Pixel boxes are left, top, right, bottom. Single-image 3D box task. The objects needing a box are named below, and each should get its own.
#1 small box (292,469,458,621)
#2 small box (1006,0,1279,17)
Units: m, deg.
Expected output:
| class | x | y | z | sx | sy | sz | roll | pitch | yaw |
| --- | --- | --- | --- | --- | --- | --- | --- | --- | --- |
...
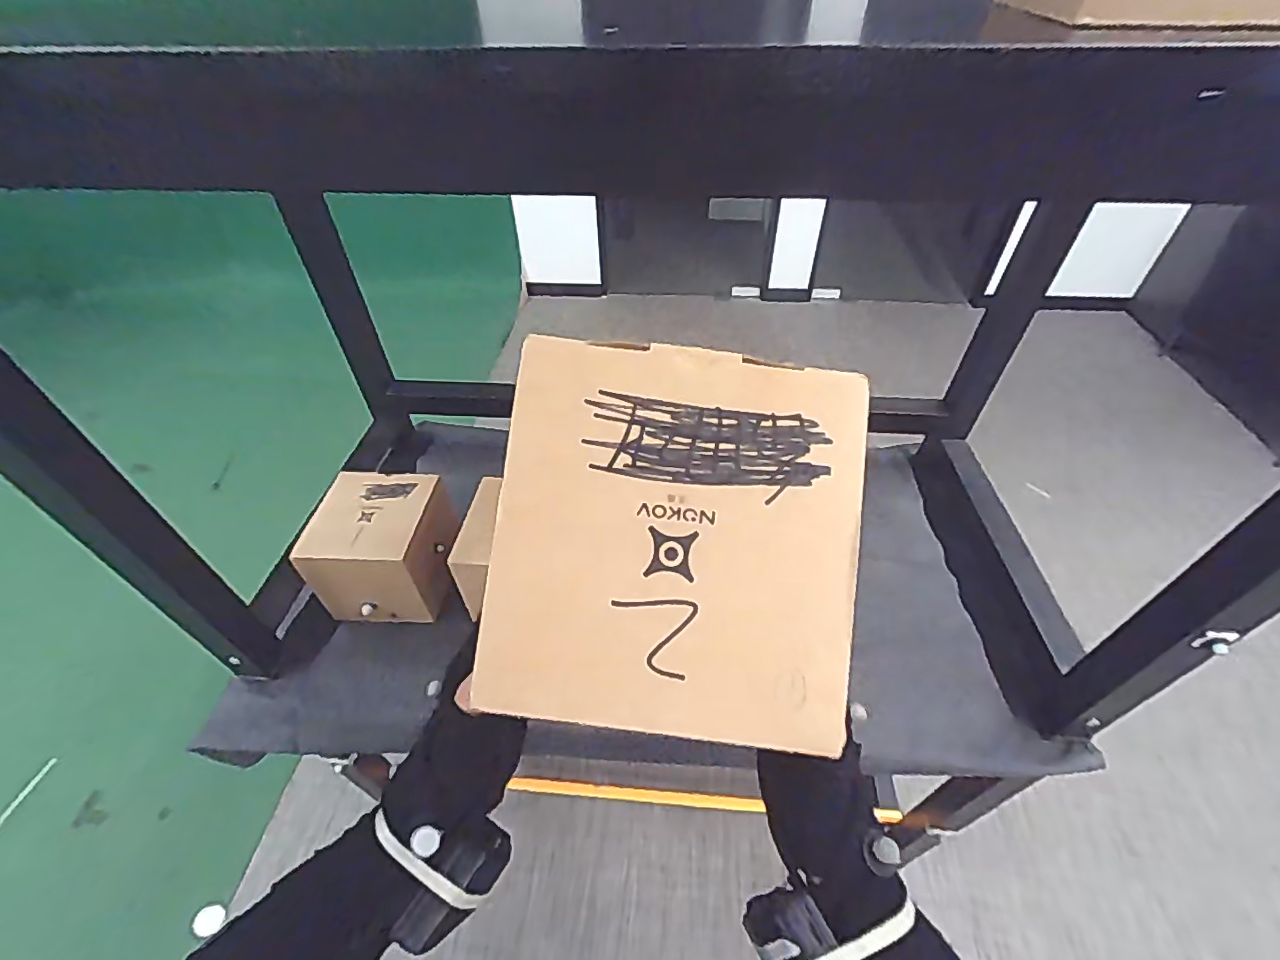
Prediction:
| class | x | y | z | sx | sy | sz | roll | pitch | yaw |
| --- | --- | --- | --- | --- | --- | --- | --- | --- | --- |
| small box | -0.404 | 0.103 | 0.869 | 0.168 | 0.176 | 0.179 | 1 | 45 | 2 |
| small box | 0.298 | -0.327 | 0.248 | 0.168 | 0.176 | 0.179 | 9 | 45 | 10 |
